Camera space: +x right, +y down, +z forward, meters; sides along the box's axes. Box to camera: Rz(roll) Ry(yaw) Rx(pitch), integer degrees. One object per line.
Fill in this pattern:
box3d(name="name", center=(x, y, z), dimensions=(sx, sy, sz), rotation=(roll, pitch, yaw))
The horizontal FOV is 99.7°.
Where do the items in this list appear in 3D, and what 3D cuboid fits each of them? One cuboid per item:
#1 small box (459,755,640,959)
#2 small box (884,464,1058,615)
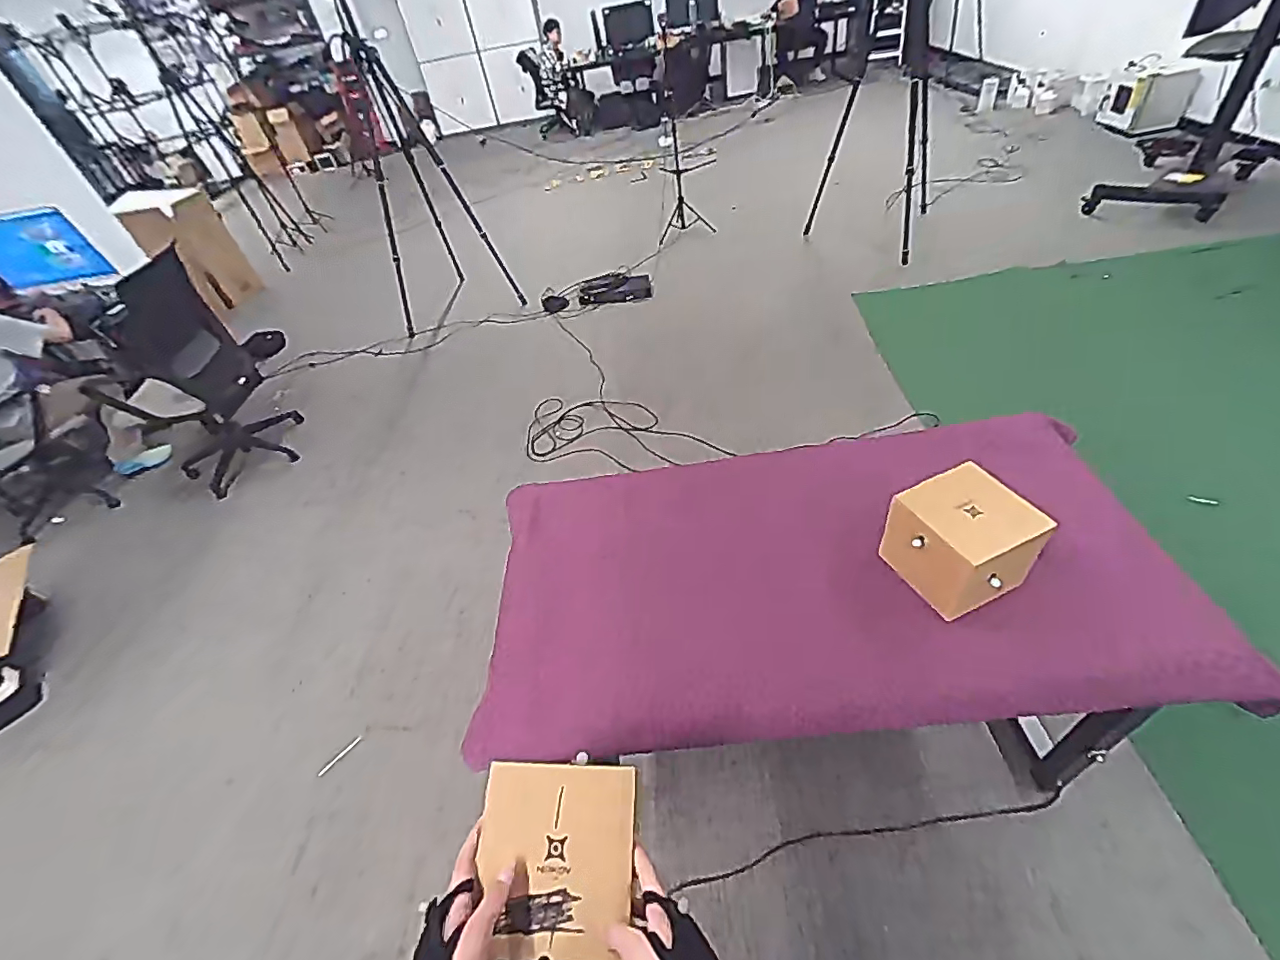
box3d(name="small box", center=(-0.088, 0.425, 0.630), dimensions=(0.168, 0.176, 0.179), rotation=(1, 61, 3))
box3d(name="small box", center=(0.555, 0.109, 0.936), dimensions=(0.168, 0.176, 0.179), rotation=(-22, 44, -10))
